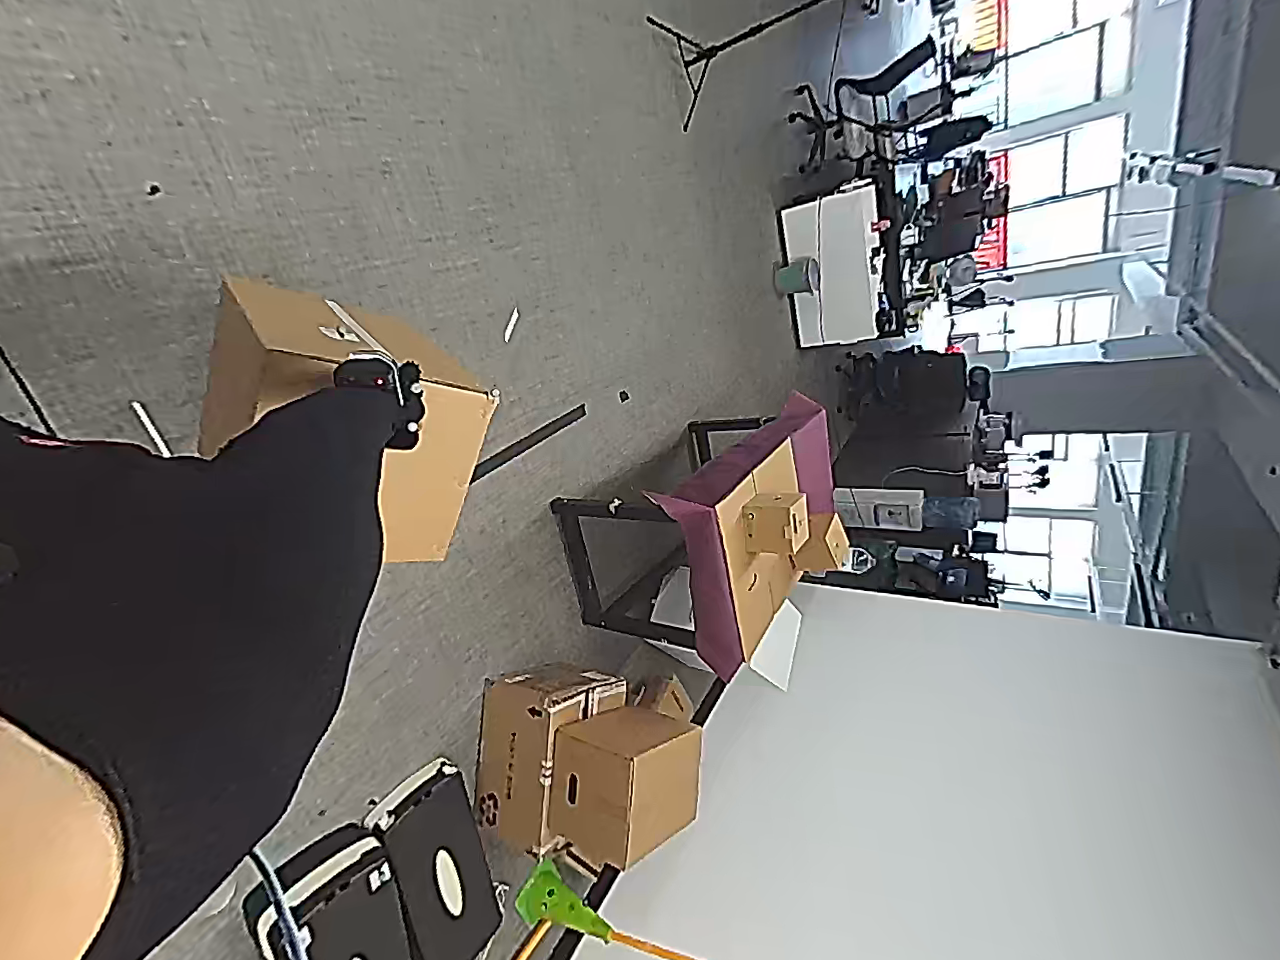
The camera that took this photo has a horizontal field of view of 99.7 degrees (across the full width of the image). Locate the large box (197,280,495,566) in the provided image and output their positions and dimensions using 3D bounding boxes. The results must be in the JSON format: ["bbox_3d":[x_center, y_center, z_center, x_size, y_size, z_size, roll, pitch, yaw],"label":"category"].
[{"bbox_3d":[-0.518,-0.098,0.926,0.320,0.408,0.320,5,115,-46],"label":"large box"}]
